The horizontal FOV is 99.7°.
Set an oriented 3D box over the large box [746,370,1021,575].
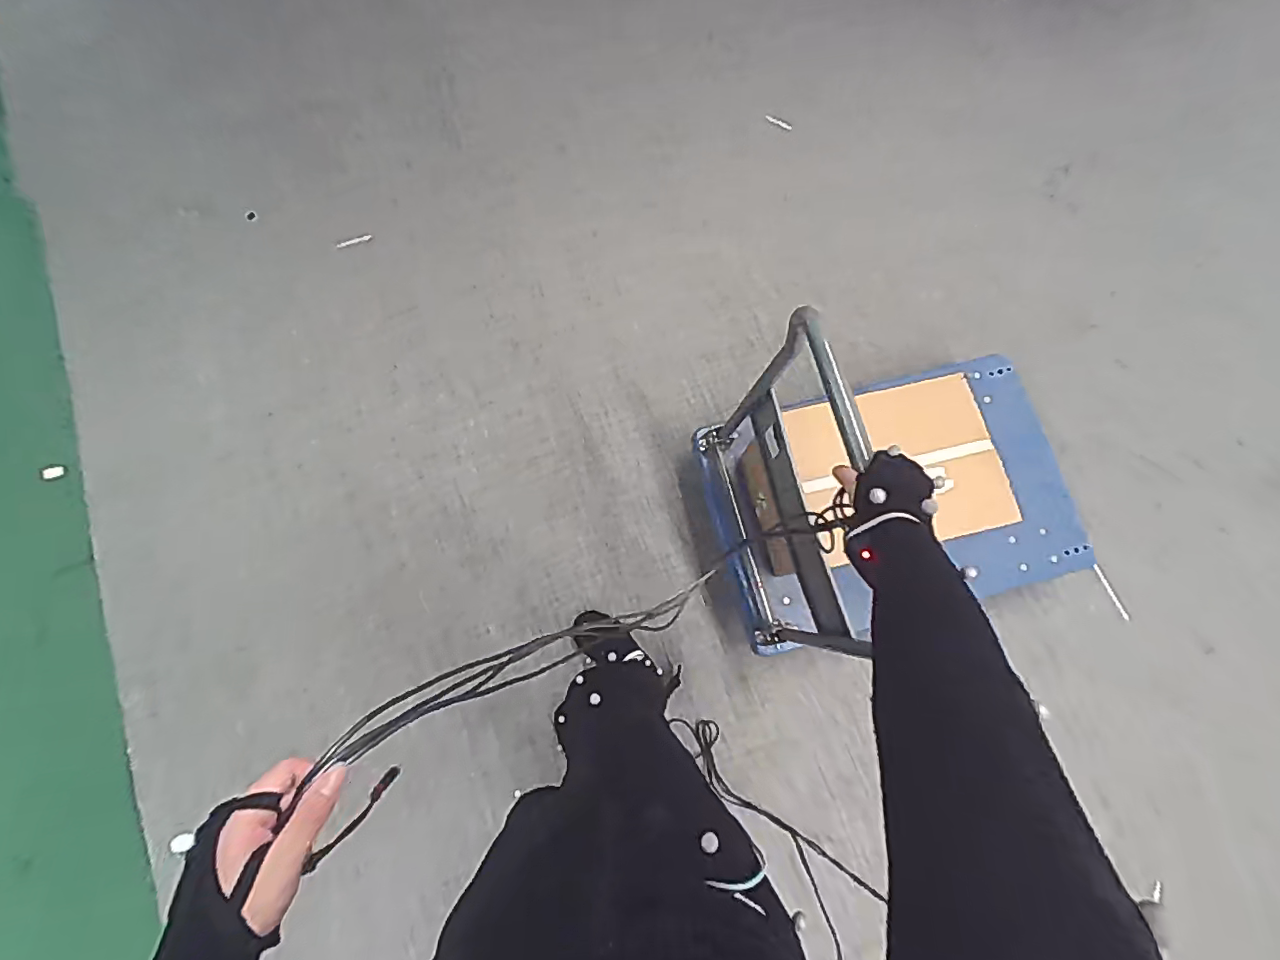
[{"bbox_3d":[0.492,0.002,1.185,0.408,0.320,0.320,-13,78,-4],"label":"large box"}]
